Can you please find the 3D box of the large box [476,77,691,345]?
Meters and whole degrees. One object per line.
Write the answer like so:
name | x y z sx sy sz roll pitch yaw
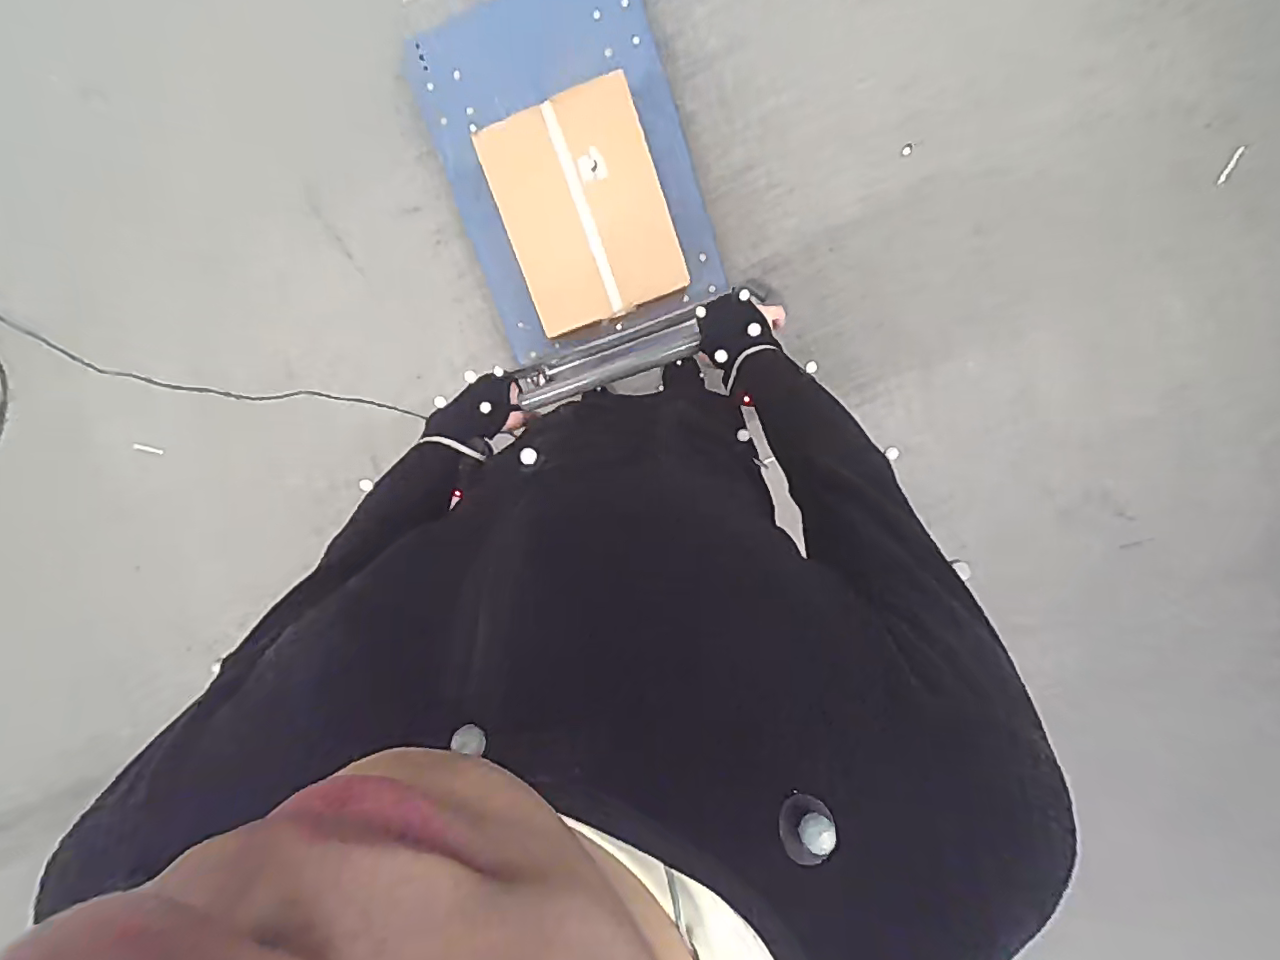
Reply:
large box | -0.098 -0.550 1.201 0.320 0.320 0.408 -19 100 6
